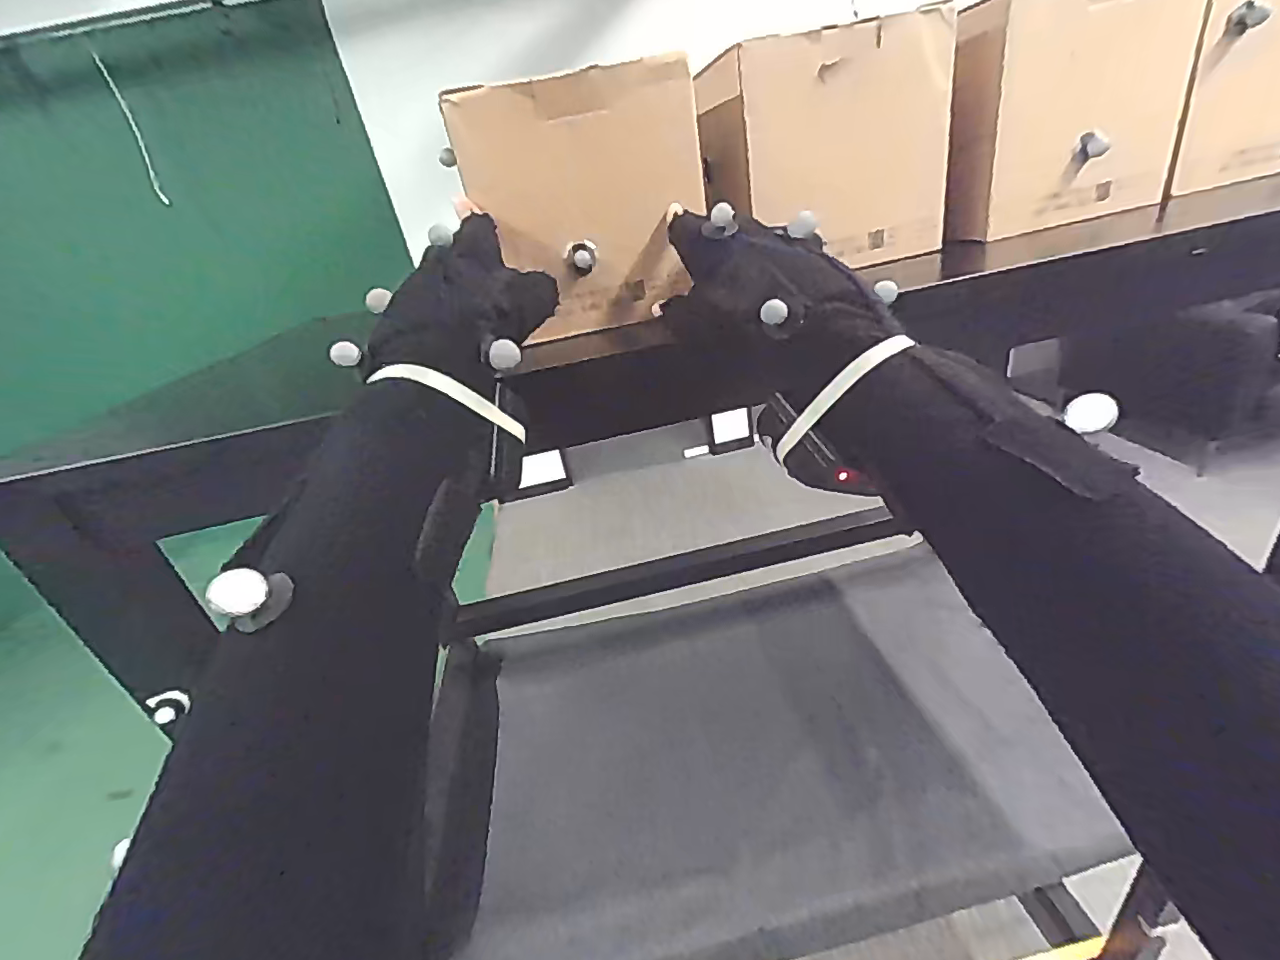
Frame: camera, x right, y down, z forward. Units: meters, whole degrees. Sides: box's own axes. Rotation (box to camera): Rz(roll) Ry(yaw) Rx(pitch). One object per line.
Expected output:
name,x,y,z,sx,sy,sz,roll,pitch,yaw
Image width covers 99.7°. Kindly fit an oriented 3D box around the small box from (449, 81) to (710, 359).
small box,-0.045,-0.214,0.467,0.168,0.176,0.179,-13,28,-3
